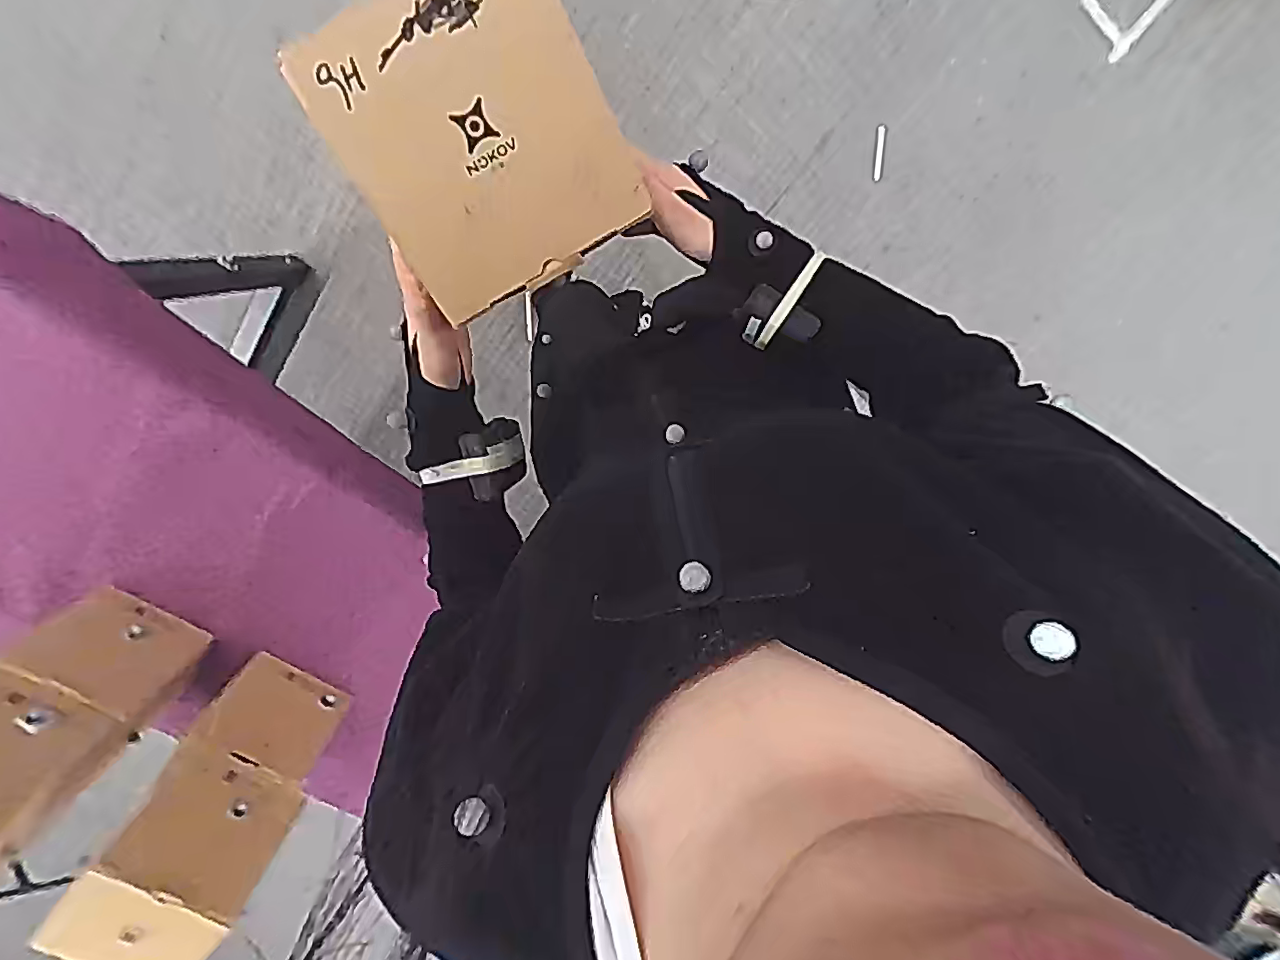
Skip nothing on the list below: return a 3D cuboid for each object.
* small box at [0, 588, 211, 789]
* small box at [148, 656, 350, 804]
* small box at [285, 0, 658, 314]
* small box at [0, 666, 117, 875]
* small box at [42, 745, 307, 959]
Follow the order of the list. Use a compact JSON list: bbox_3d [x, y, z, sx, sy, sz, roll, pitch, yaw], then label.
[{"bbox_3d":[-0.781,0.296,0.785,0.168,0.176,0.179,36,107,-16],"label":"small box"},{"bbox_3d":[-0.588,0.412,0.840,0.168,0.176,0.179,36,108,-15],"label":"small box"},{"bbox_3d":[-0.107,-0.251,0.409,0.168,0.176,0.179,-28,115,1],"label":"small box"},{"bbox_3d":[-0.784,0.360,0.636,0.168,0.176,0.179,33,107,-15],"label":"small box"},{"bbox_3d":[-0.576,0.487,0.696,0.168,0.176,0.179,38,106,-16],"label":"small box"}]
